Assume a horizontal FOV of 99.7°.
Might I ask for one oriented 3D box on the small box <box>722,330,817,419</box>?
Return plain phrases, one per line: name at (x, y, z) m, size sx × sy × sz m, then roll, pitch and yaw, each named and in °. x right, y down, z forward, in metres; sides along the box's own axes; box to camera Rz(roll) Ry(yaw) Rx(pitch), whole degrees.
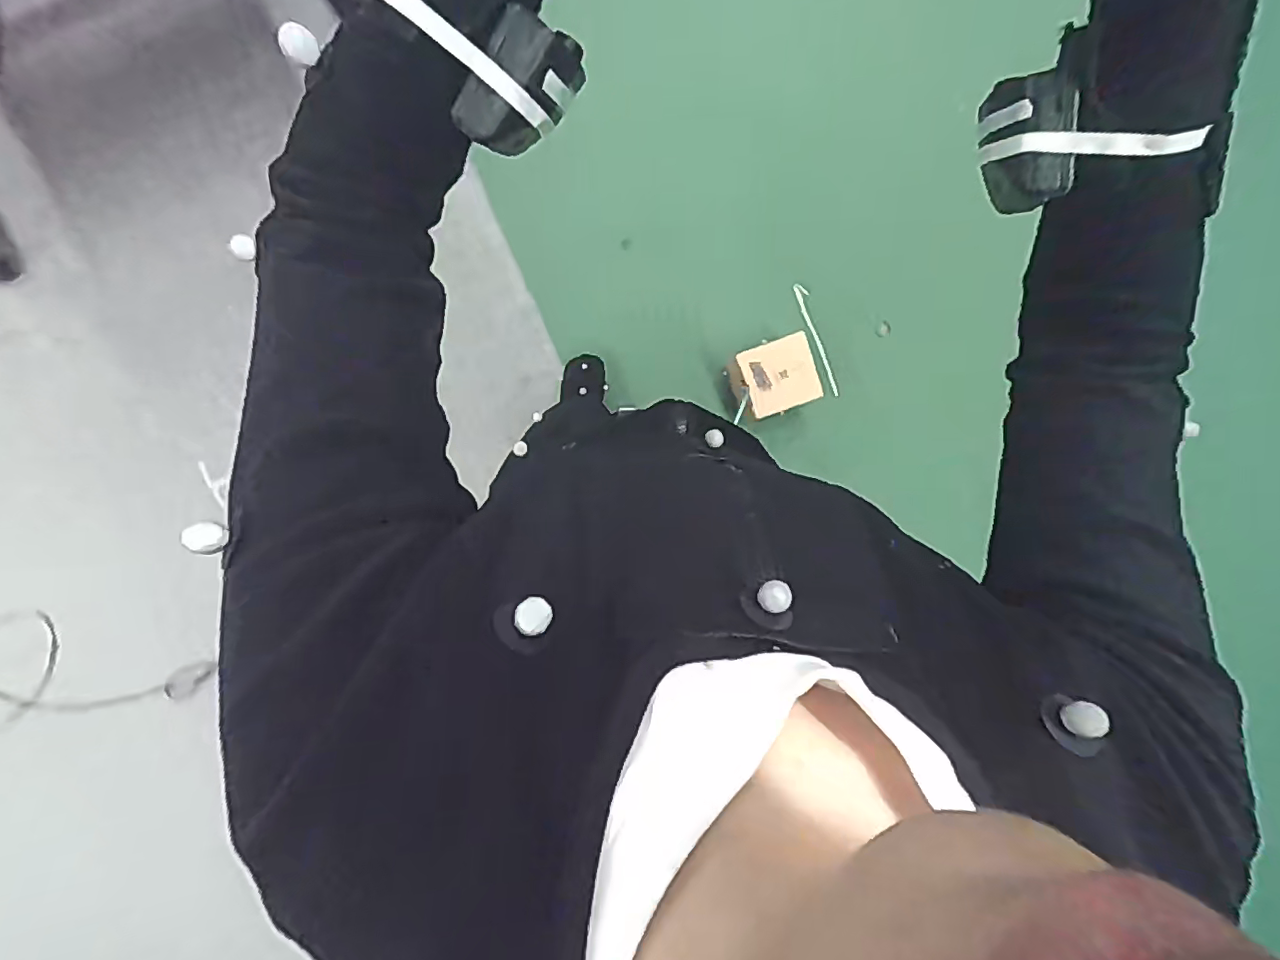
small box at (0.319, -0.260, 1.377) m, size 0.179 × 0.176 × 0.168 m, roll -22°, pitch 97°, yaw 2°
